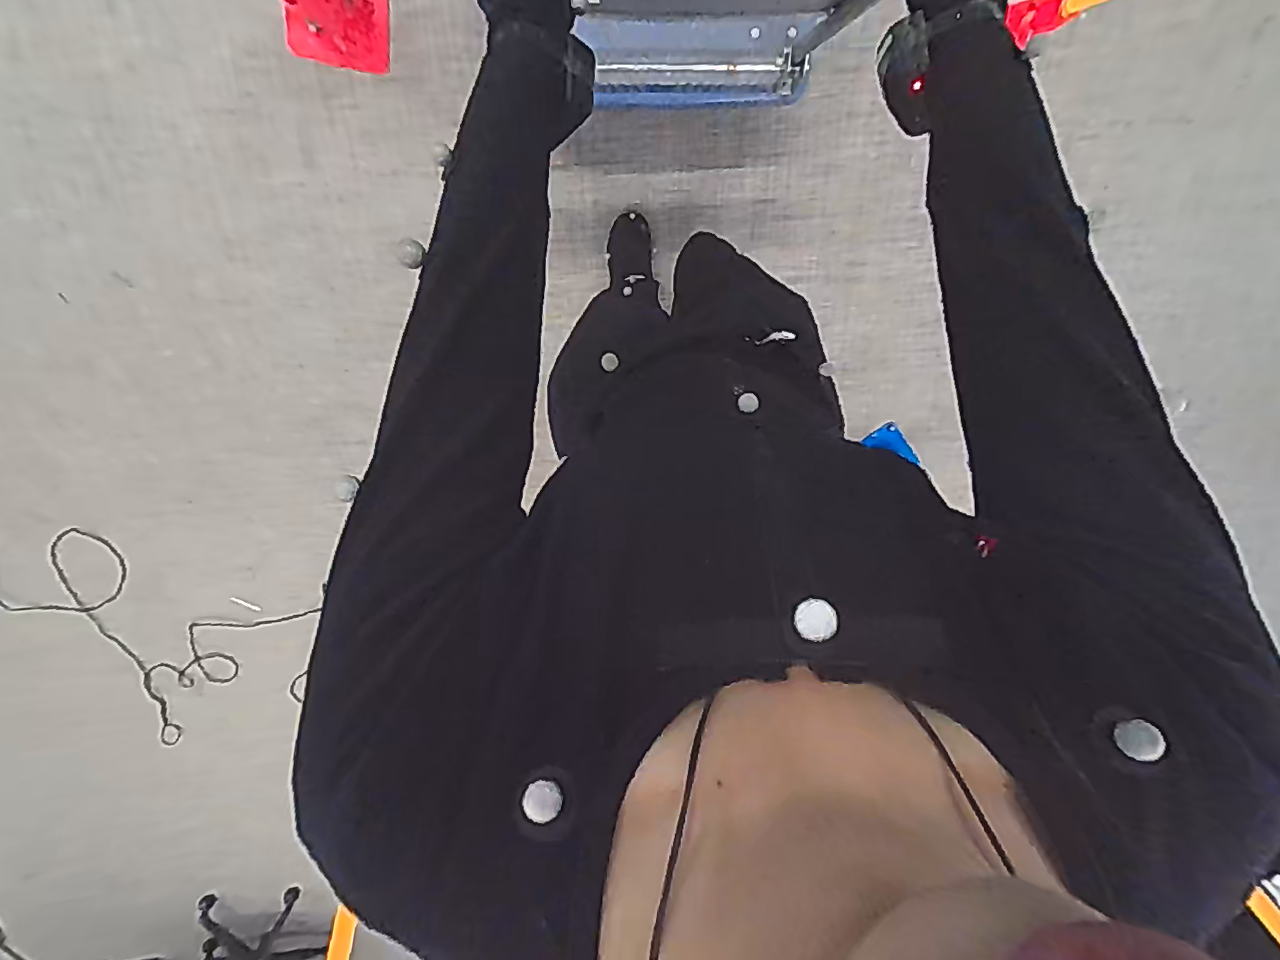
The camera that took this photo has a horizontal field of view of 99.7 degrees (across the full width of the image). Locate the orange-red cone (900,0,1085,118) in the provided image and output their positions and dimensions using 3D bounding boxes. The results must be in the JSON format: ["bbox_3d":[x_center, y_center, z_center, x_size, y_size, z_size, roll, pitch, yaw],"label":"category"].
[{"bbox_3d":[0.690,-0.837,1.022,0.198,0.360,0.199,6,117,-6],"label":"orange-red cone"}]
